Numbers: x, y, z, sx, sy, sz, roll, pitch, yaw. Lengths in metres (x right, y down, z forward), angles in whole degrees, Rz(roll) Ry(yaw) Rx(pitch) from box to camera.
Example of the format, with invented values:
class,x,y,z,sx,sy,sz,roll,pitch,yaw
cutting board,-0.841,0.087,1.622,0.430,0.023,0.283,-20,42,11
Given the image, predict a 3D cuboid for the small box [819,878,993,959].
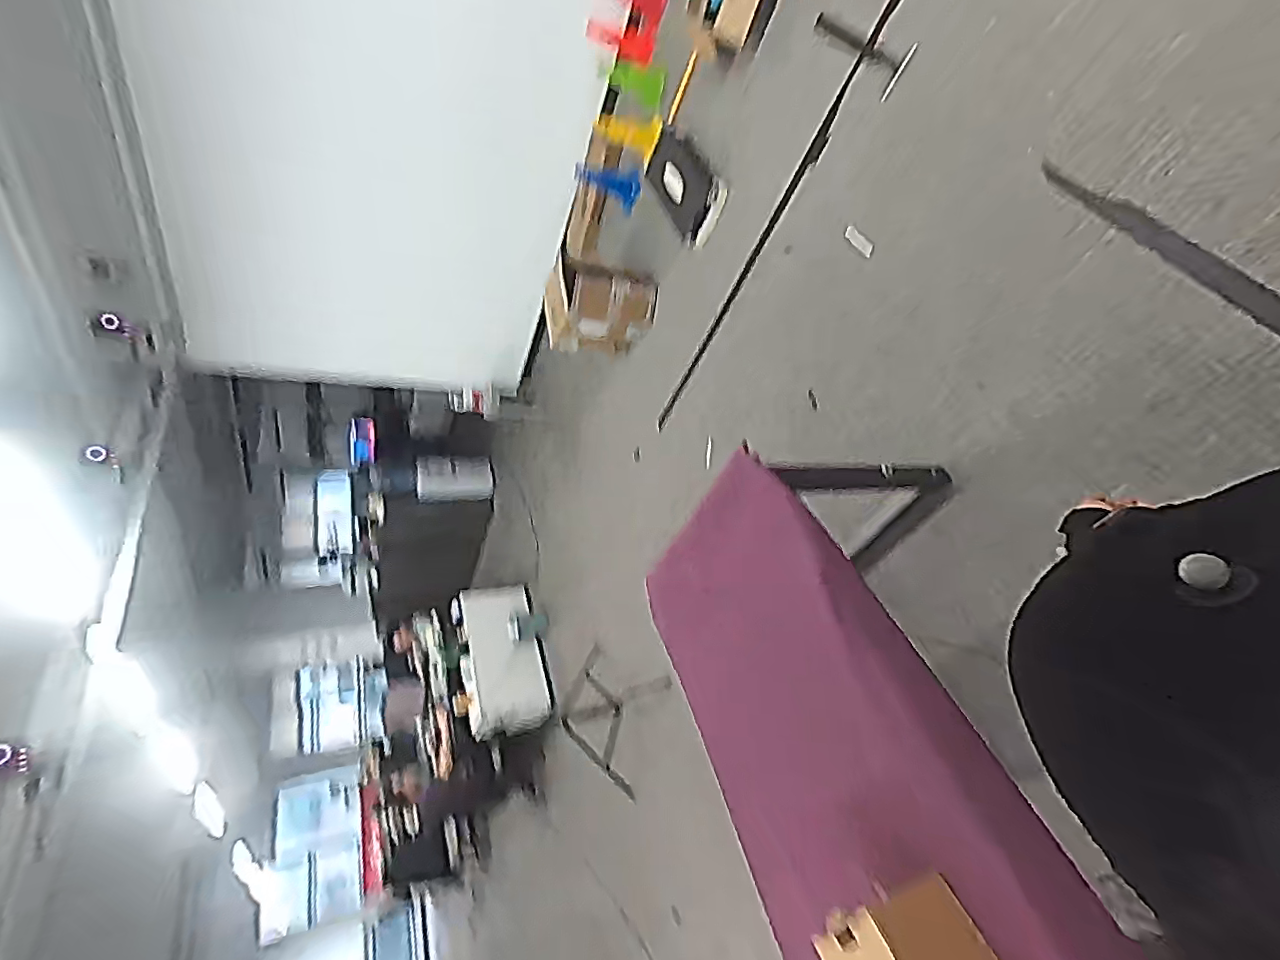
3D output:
class,x,y,z,sx,sy,sz,roll,pitch,yaw
small box,0.408,0.731,0.788,0.179,0.176,0.168,59,139,43
